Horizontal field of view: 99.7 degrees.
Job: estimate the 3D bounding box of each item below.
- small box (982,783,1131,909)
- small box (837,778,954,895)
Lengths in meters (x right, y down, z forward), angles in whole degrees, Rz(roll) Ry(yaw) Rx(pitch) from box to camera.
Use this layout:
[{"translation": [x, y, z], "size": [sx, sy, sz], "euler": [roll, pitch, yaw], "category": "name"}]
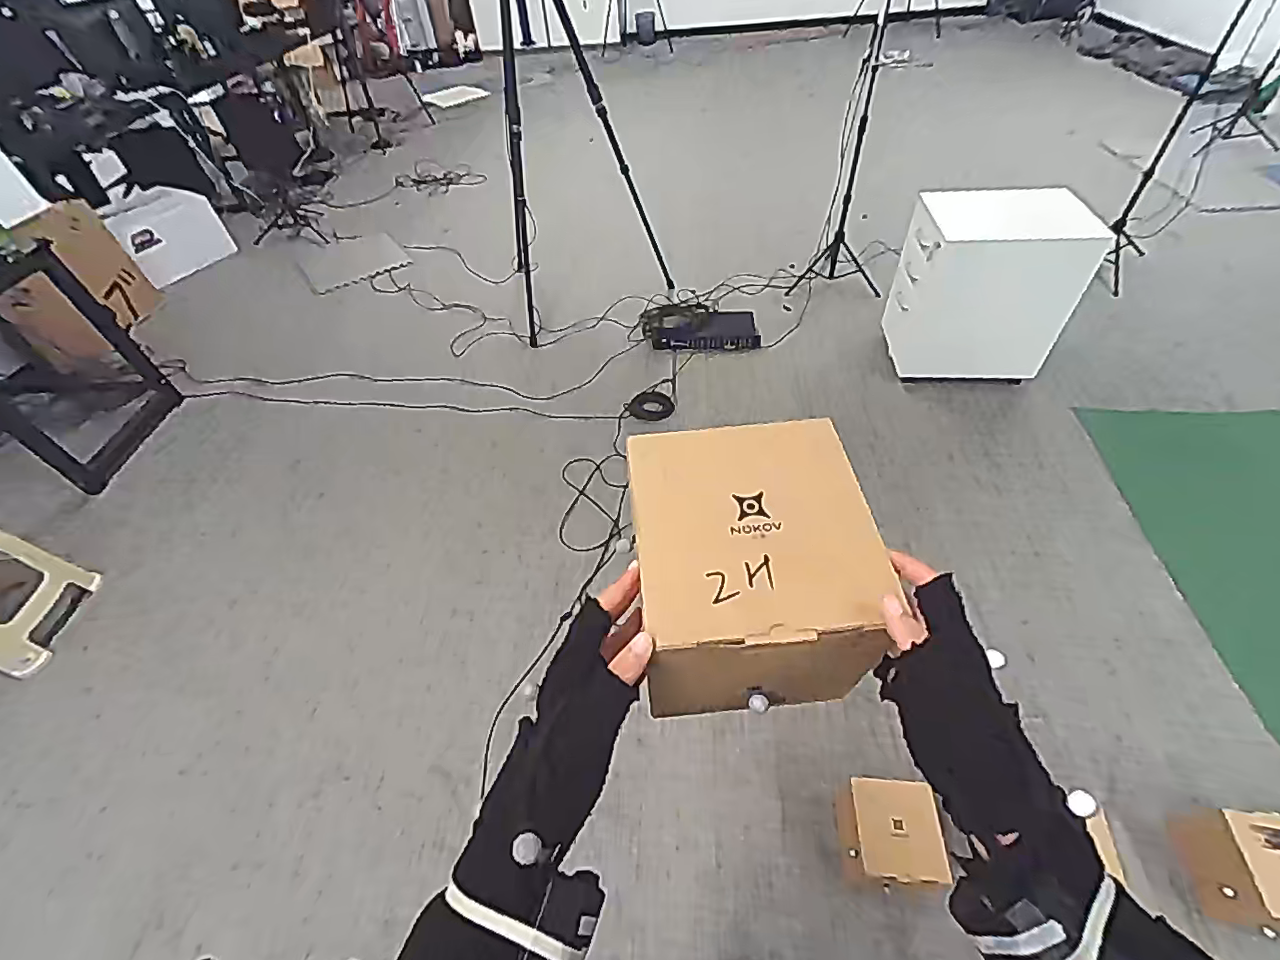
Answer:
[{"translation": [0.837, 0.754, 1.110], "size": [0.168, 0.176, 0.179], "euler": [6, 48, 10], "category": "small box"}, {"translation": [0.524, 0.753, 1.142], "size": [0.168, 0.176, 0.179], "euler": [1, 49, 6], "category": "small box"}]
